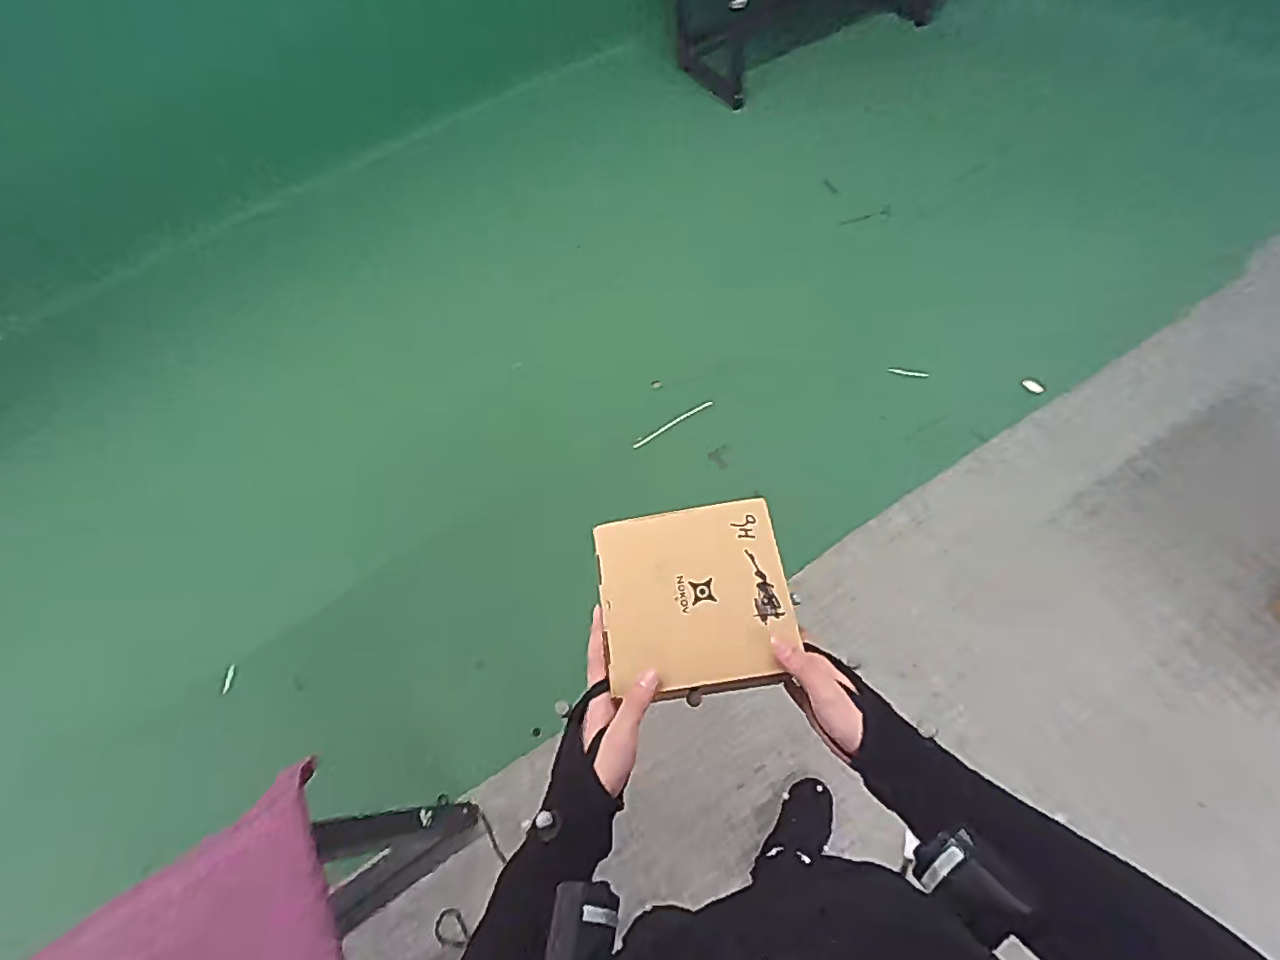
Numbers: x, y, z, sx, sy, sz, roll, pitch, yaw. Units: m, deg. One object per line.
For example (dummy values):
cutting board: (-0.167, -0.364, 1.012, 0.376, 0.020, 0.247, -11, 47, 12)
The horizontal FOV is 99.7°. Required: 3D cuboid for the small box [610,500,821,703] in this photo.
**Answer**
small box: (0.072, 0.138, 0.575, 0.179, 0.176, 0.168, -8, 65, 2)
